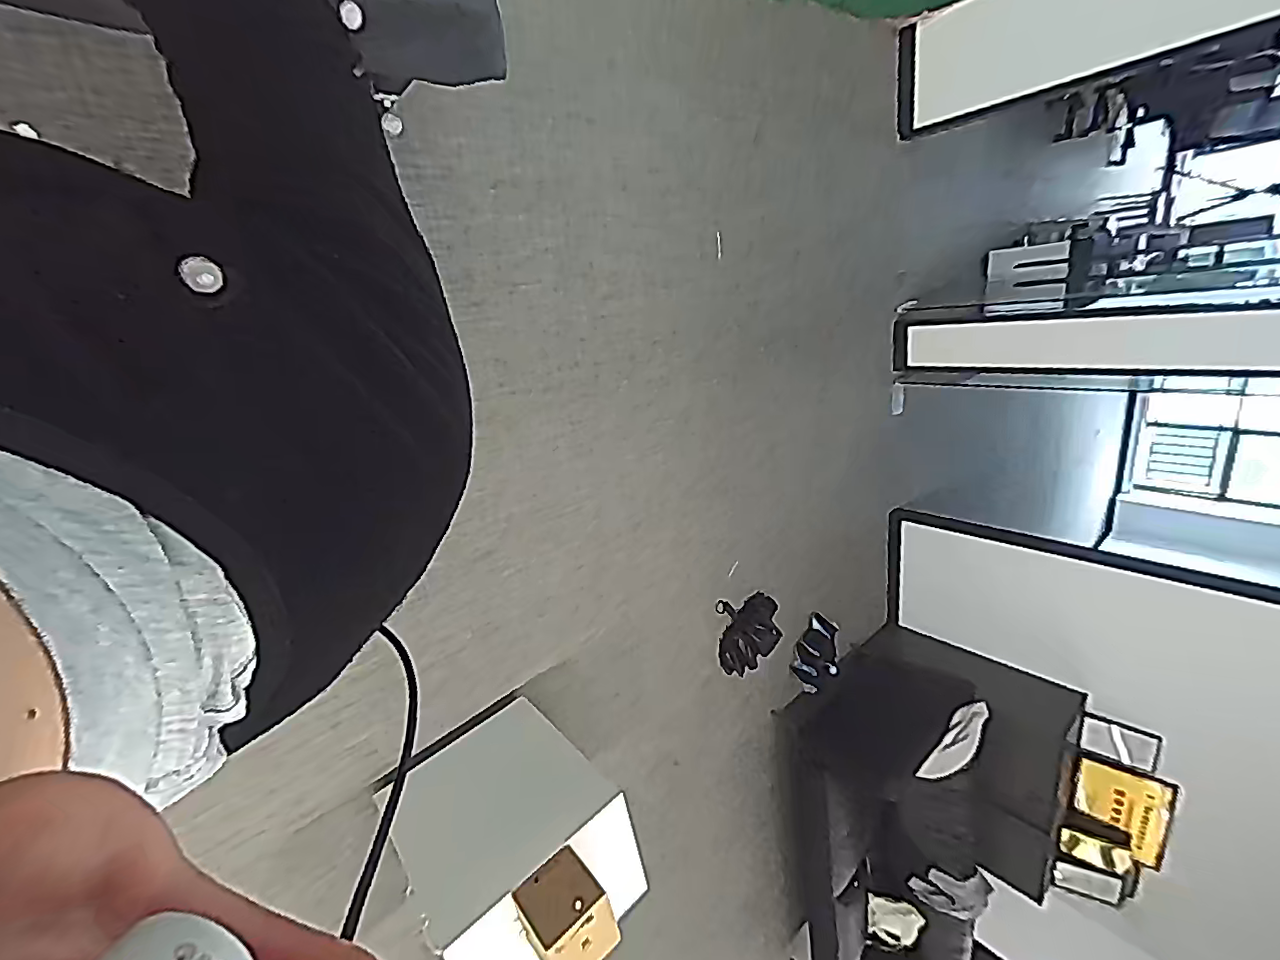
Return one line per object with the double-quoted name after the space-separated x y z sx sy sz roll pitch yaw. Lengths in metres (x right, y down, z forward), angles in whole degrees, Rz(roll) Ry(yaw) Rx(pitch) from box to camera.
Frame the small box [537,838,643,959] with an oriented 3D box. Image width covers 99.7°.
-0.118 1.003 1.275 0.168 0.176 0.179 -27 117 -34 "small box"
